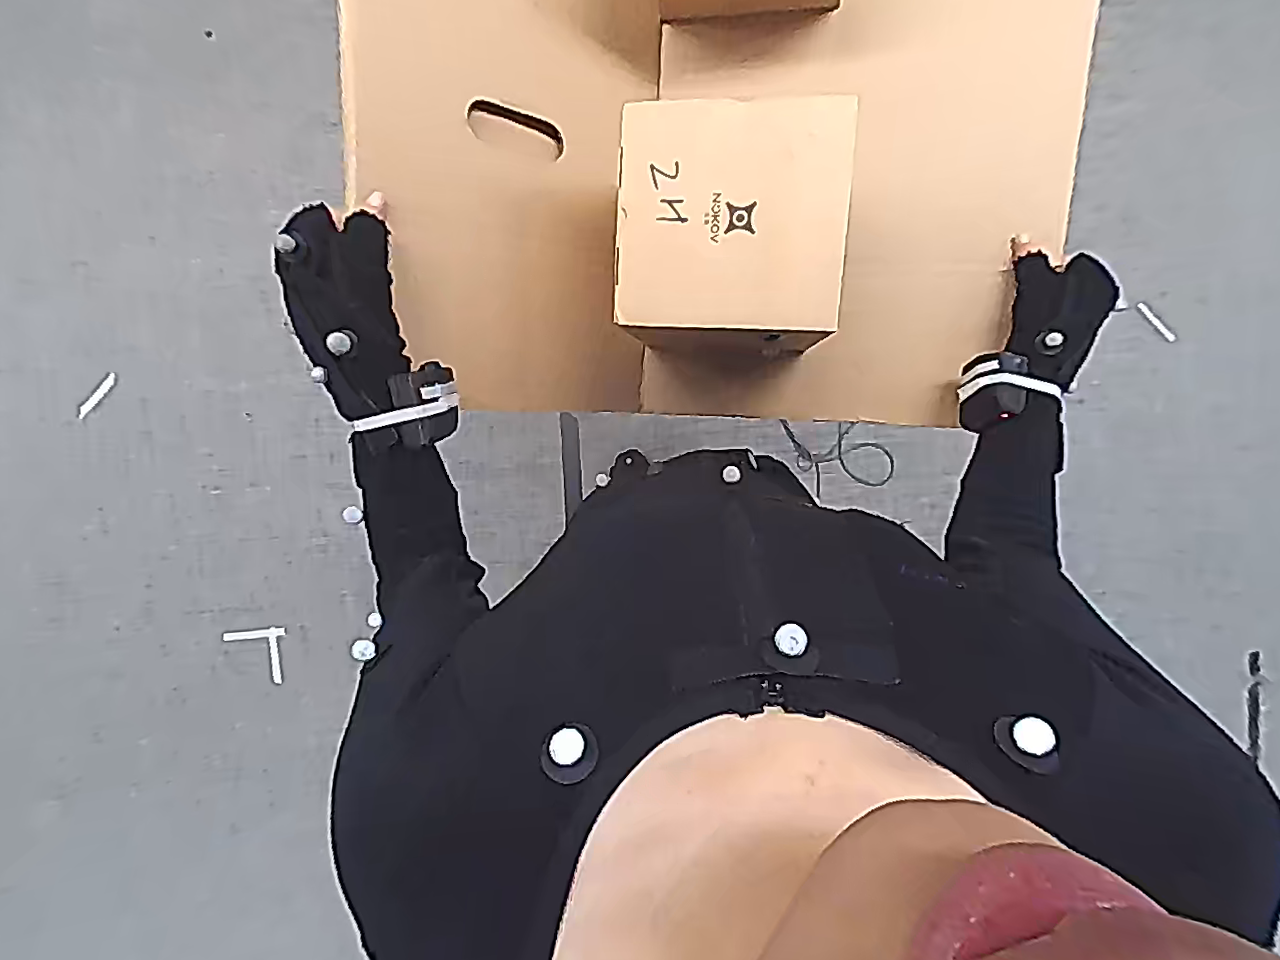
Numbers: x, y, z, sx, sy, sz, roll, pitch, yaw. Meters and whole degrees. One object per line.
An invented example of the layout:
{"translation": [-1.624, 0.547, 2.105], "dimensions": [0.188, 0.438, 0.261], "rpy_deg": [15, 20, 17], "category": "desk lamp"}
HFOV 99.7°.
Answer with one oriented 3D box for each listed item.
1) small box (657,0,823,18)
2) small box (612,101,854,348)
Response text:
{"translation": [0.092, -0.529, 0.449], "dimensions": [0.179, 0.176, 0.168], "rpy_deg": [3, 99, 8], "category": "small box"}
{"translation": [0.080, -0.215, 0.497], "dimensions": [0.179, 0.176, 0.168], "rpy_deg": [5, 99, 9], "category": "small box"}
